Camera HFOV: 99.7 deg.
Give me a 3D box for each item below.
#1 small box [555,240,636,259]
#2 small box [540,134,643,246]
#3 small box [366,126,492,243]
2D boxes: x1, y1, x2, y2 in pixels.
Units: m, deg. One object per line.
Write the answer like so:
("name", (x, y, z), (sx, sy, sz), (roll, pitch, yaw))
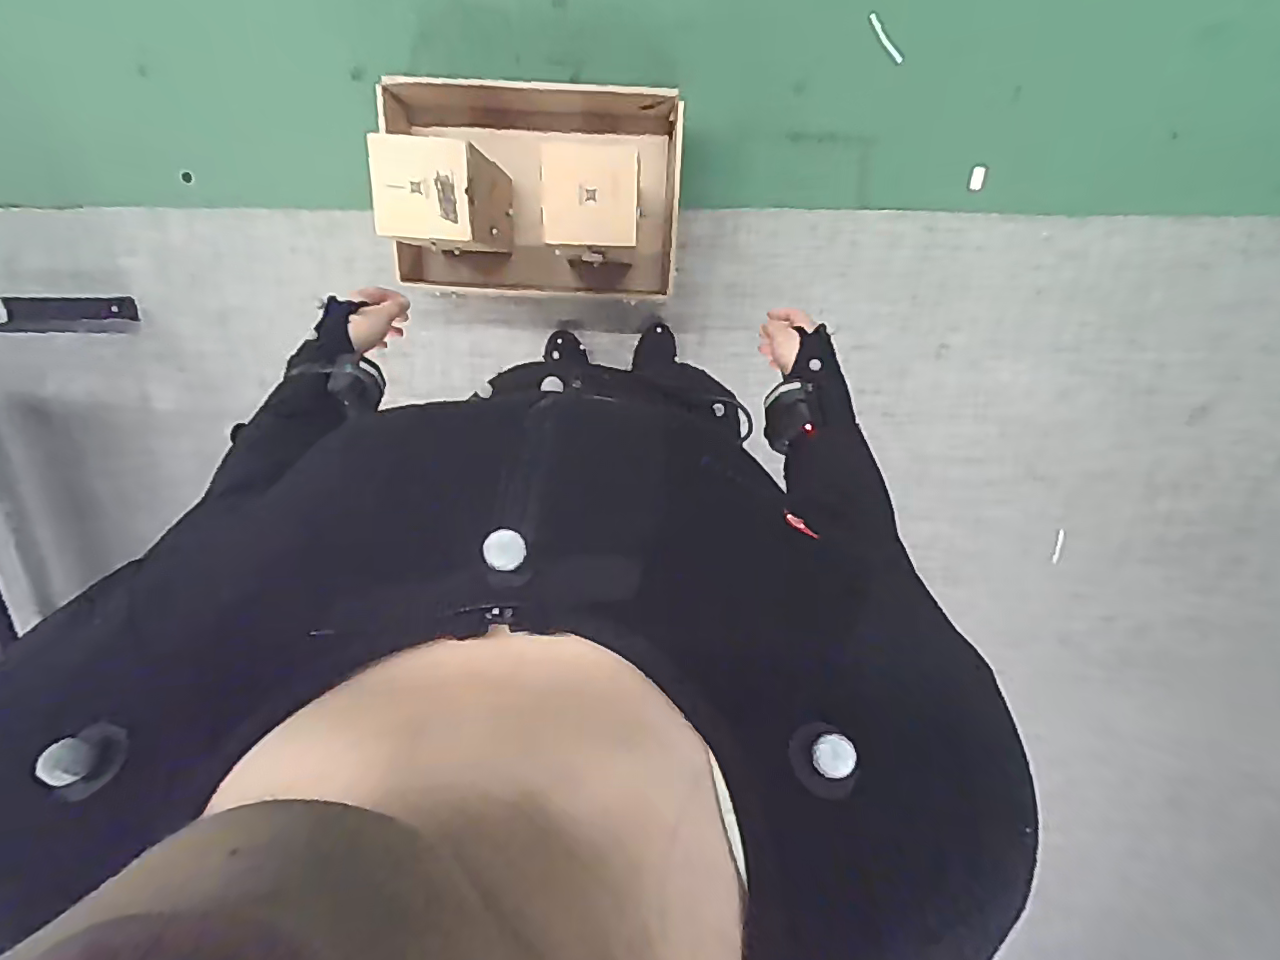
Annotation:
("small box", (-0.090, -0.585, 1.182), (0.168, 0.176, 0.179), (4, 110, -1))
("small box", (-0.085, -0.538, 1.025), (0.179, 0.176, 0.168), (1, 111, 0))
("small box", (-0.383, -0.546, 1.019), (0.179, 0.176, 0.168), (3, 109, -1))
